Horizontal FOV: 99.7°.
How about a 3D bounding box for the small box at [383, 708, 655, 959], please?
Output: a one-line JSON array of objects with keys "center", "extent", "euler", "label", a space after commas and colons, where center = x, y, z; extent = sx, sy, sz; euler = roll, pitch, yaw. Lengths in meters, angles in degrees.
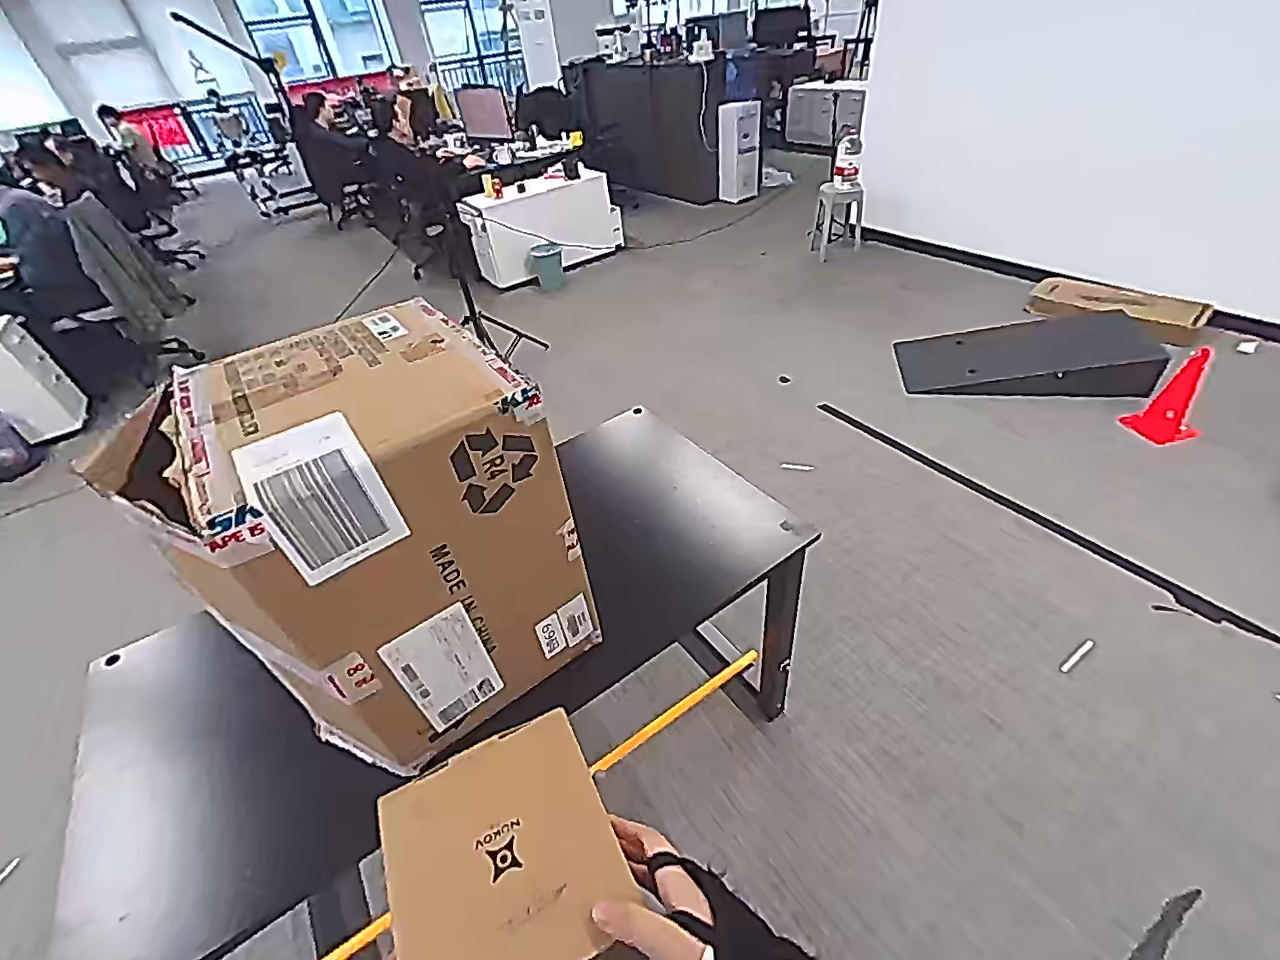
[{"center": [-0.098, 0.342, 0.464], "extent": [0.168, 0.176, 0.179], "euler": [-21, 45, -17], "label": "small box"}]
